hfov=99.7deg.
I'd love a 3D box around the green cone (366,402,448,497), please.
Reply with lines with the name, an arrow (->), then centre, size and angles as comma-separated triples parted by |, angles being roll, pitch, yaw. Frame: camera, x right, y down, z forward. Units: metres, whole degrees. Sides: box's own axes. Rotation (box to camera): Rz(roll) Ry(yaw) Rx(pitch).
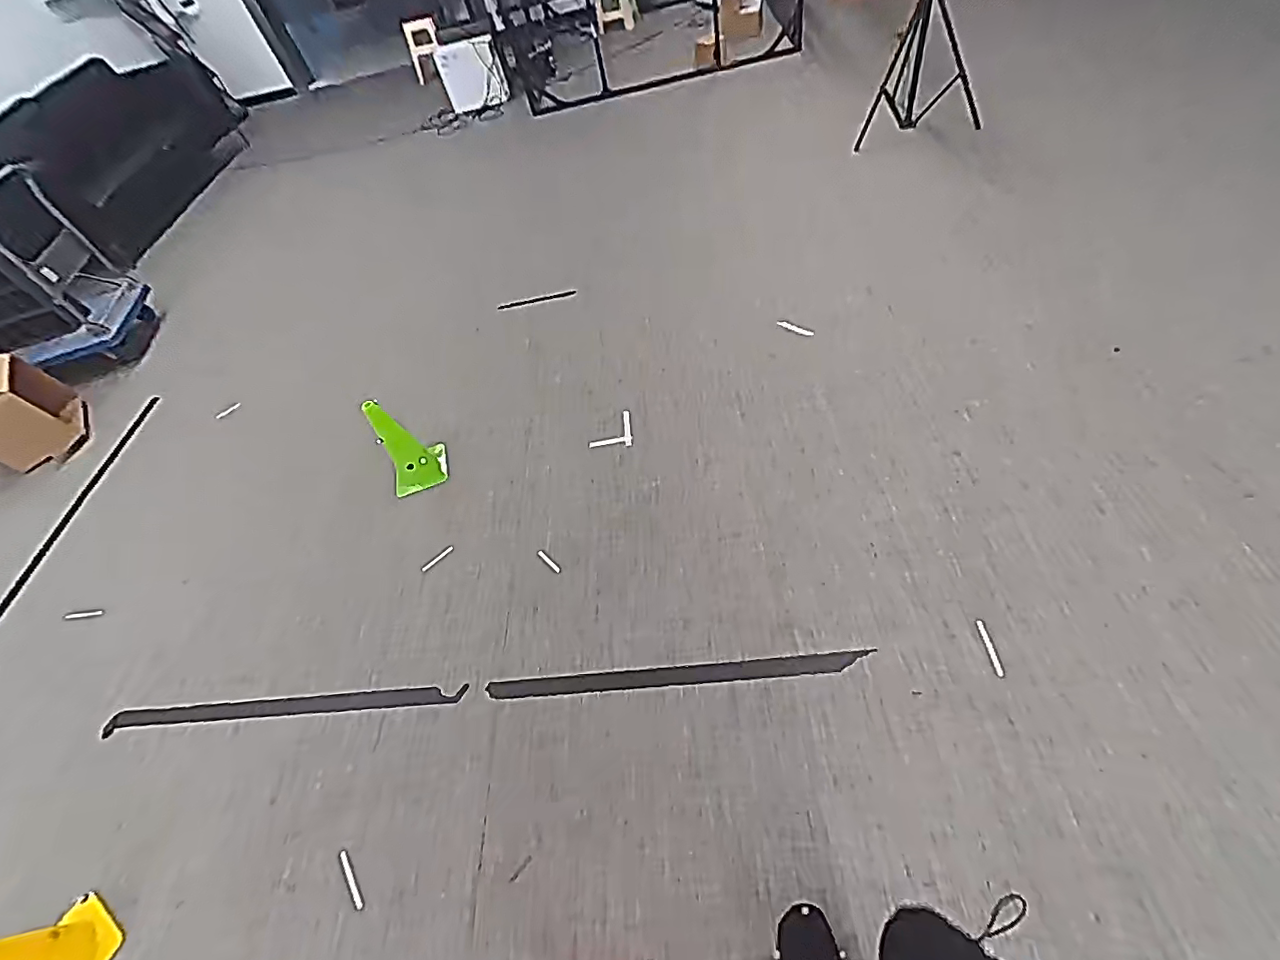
green cone -> -0.863, -0.135, 1.928 | 0.202, 0.368, 0.200 | -20, 52, -3
